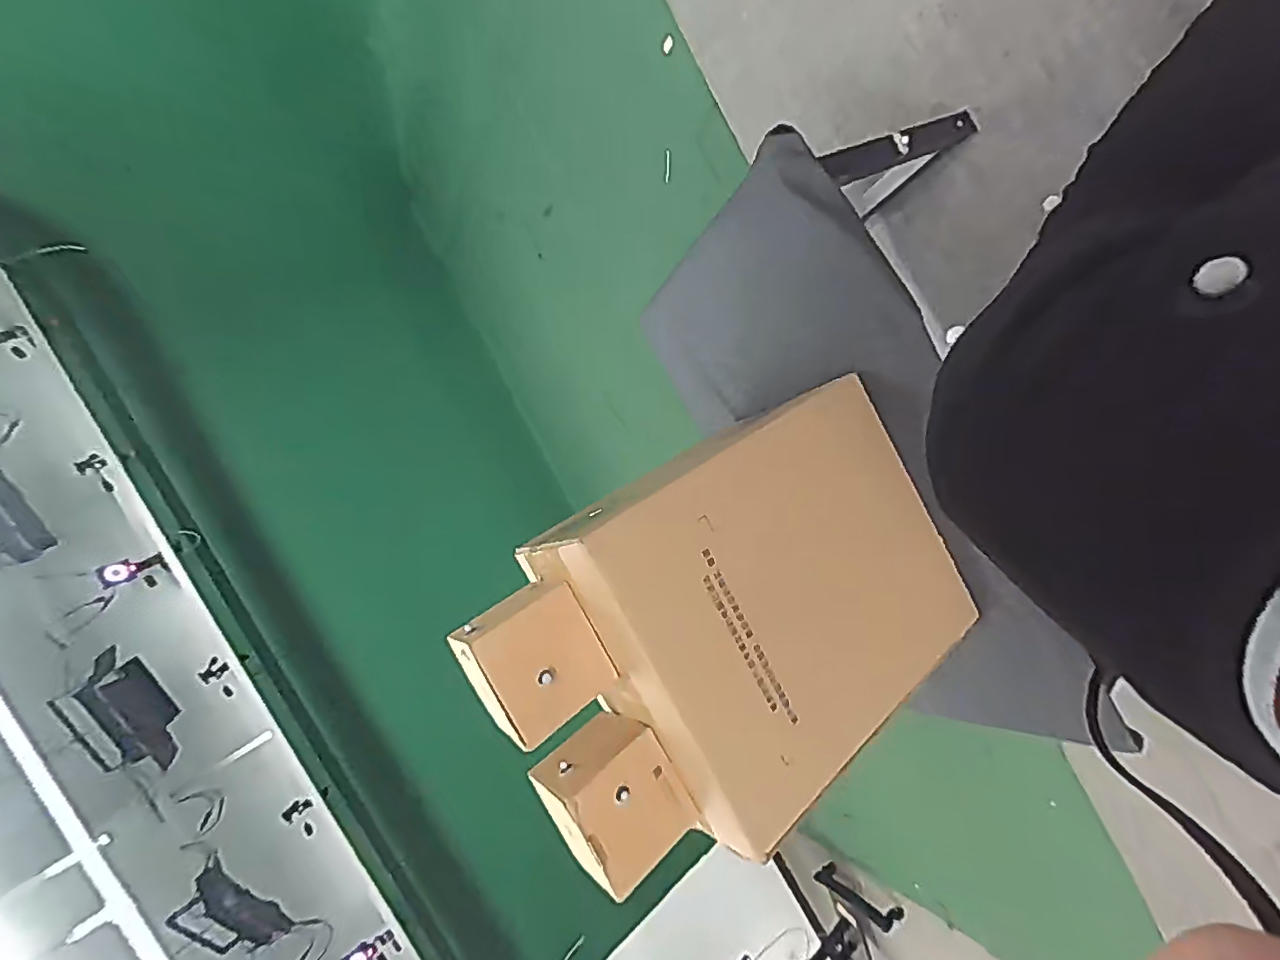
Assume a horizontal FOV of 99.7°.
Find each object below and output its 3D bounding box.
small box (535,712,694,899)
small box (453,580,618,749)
[{"bbox_3d":[-0.036,0.500,0.866,0.168,0.176,0.179,62,151,-2],"label":"small box"},{"bbox_3d":[-0.162,0.277,0.851,0.179,0.176,0.168,61,149,-5],"label":"small box"}]
